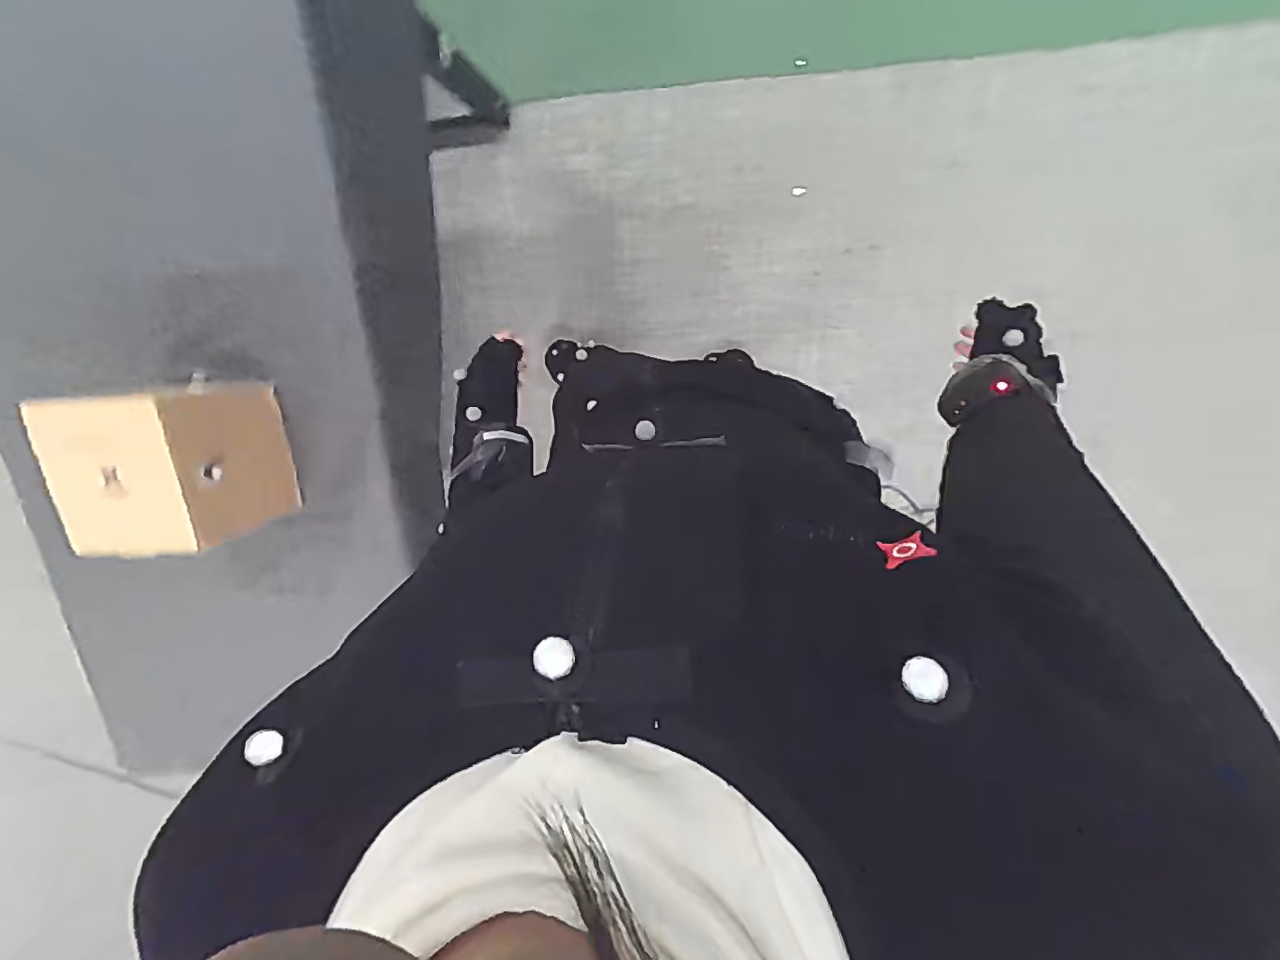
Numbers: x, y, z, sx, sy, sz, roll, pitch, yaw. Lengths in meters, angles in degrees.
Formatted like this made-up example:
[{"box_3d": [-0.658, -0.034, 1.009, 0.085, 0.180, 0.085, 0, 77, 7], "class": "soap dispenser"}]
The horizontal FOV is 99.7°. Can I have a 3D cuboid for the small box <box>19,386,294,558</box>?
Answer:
[{"box_3d": [-0.569, -0.017, 0.666, 0.168, 0.176, 0.179, -2, 105, 7], "class": "small box"}]
